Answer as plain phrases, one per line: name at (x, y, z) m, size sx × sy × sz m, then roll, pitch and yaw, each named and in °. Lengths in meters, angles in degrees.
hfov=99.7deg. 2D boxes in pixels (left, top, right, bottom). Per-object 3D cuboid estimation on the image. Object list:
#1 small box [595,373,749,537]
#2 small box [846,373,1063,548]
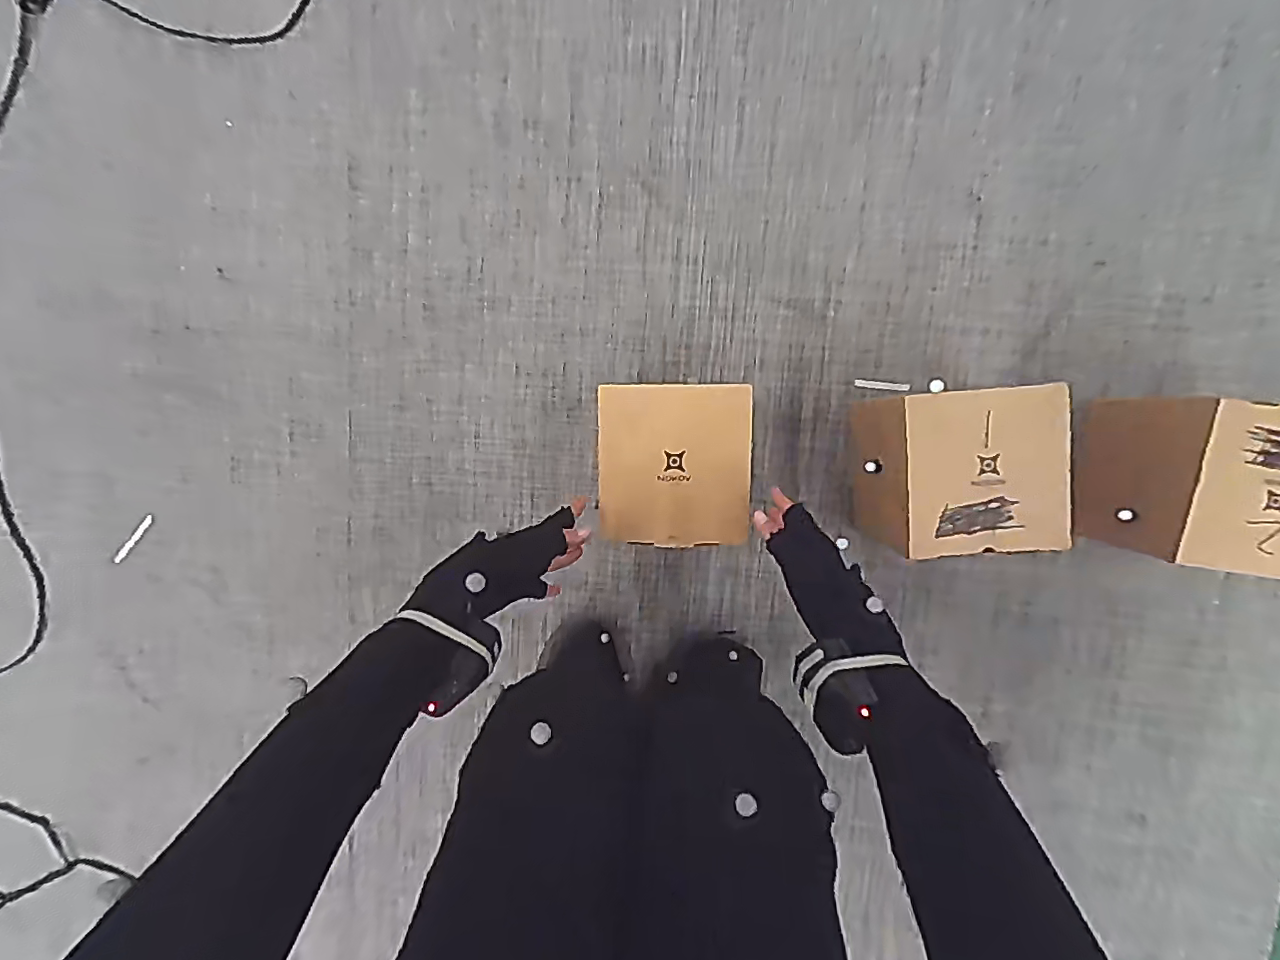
small box at (0.037, -0.033, 0.657) m, size 0.168 × 0.176 × 0.179 m, roll 0°, pitch 97°, yaw 4°
small box at (0.354, -0.027, 0.638) m, size 0.168 × 0.176 × 0.179 m, roll -4°, pitch 95°, yaw 3°
